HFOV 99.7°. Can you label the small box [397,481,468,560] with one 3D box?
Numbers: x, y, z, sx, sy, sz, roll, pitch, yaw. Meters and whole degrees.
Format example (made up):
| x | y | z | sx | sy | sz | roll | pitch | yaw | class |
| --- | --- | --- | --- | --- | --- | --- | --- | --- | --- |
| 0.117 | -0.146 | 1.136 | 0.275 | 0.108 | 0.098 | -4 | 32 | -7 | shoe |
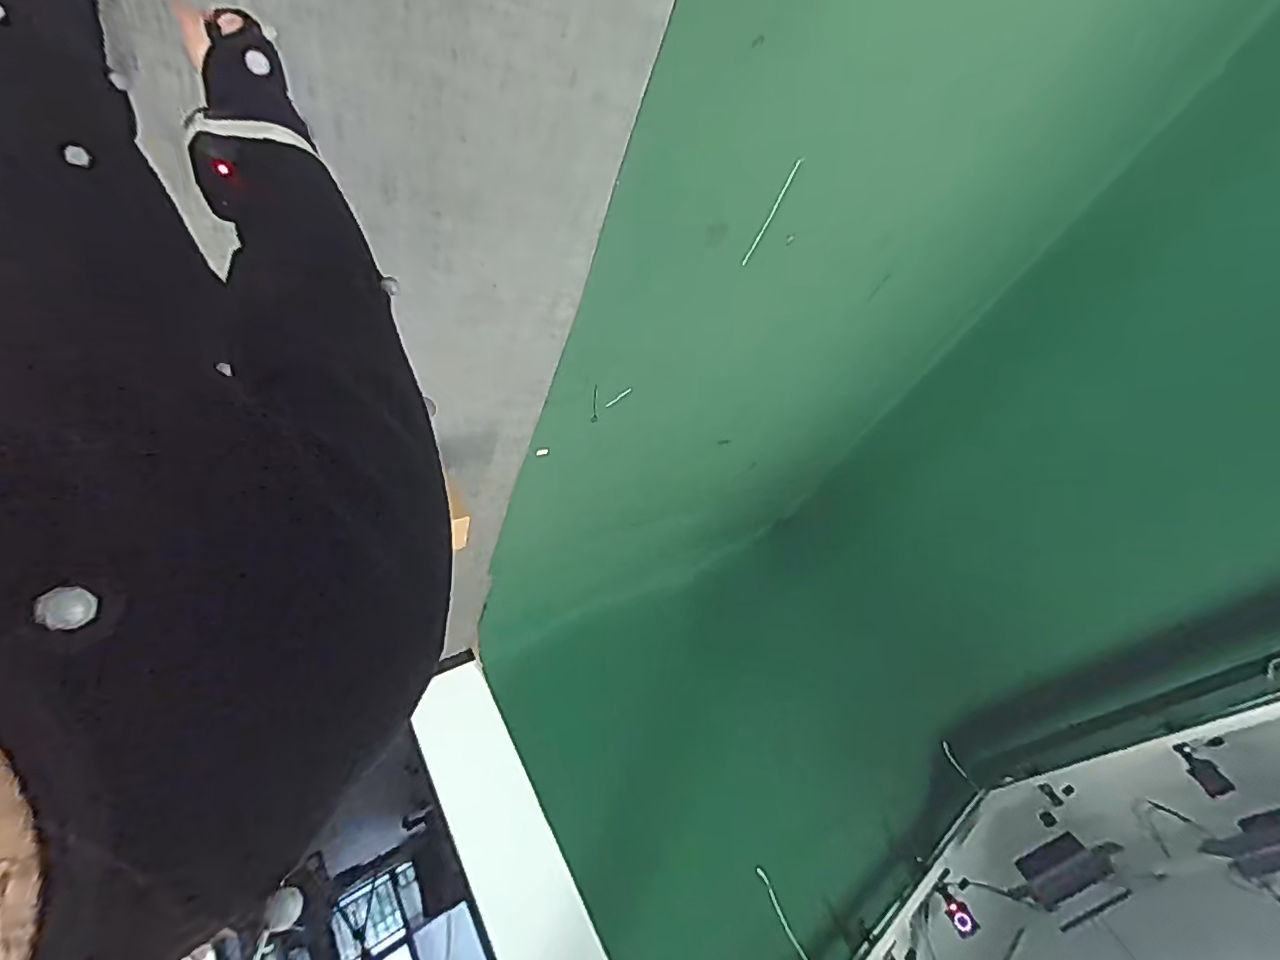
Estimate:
| x | y | z | sx | sy | sz | roll | pitch | yaw | class |
| --- | --- | --- | --- | --- | --- | --- | --- | --- | --- |
| -0.656 | 0.119 | 1.699 | 0.168 | 0.176 | 0.179 | -14 | 148 | -33 | small box |
